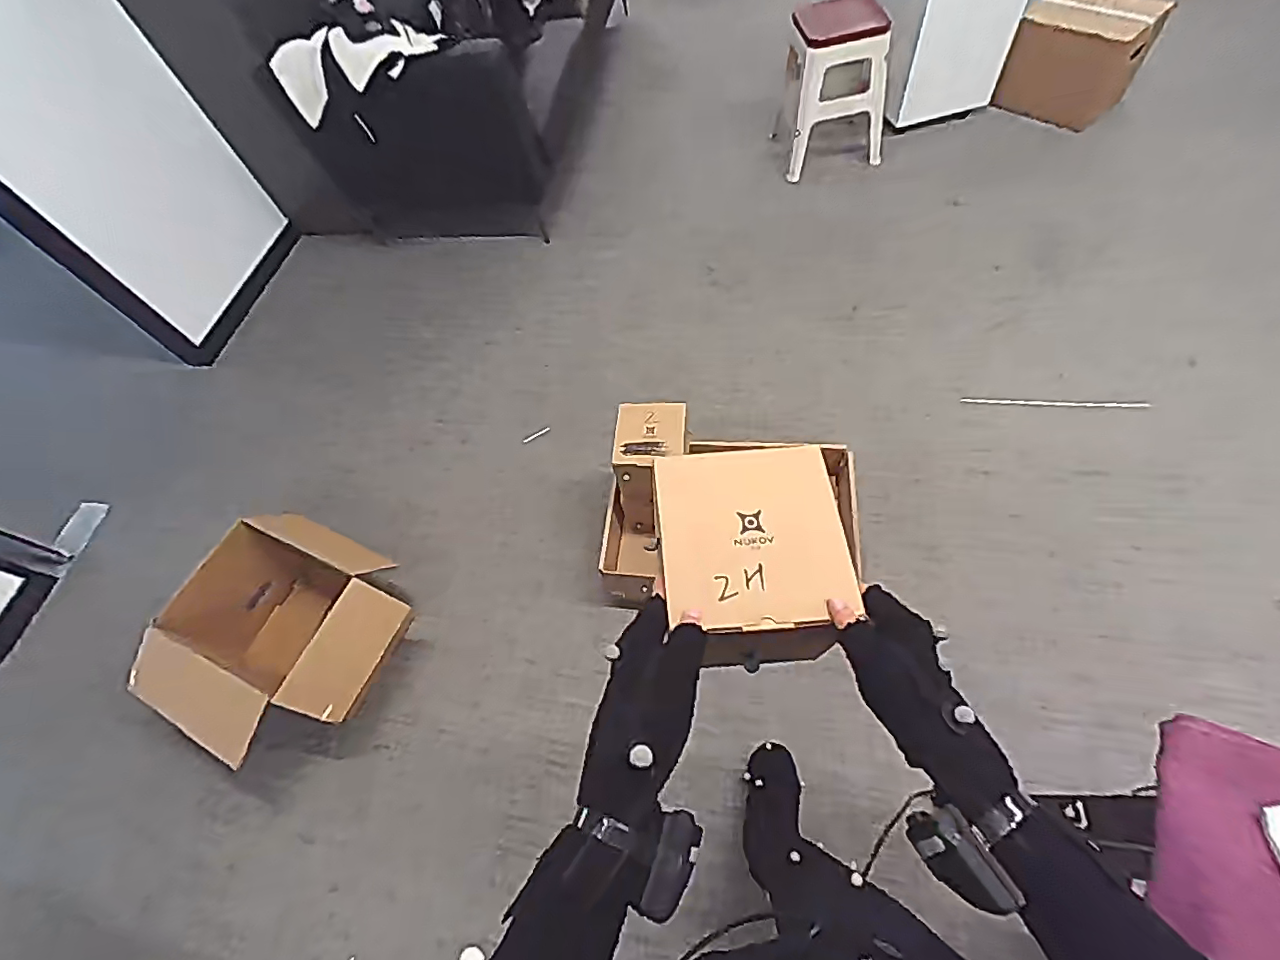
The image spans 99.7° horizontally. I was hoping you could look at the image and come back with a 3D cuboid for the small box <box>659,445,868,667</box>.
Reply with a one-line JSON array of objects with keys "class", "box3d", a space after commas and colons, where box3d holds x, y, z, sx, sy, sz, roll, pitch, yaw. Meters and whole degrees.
[{"class": "small box", "box3d": [0.106, 0.083, 0.557, 0.168, 0.176, 0.179, -3, 60, 0]}]
